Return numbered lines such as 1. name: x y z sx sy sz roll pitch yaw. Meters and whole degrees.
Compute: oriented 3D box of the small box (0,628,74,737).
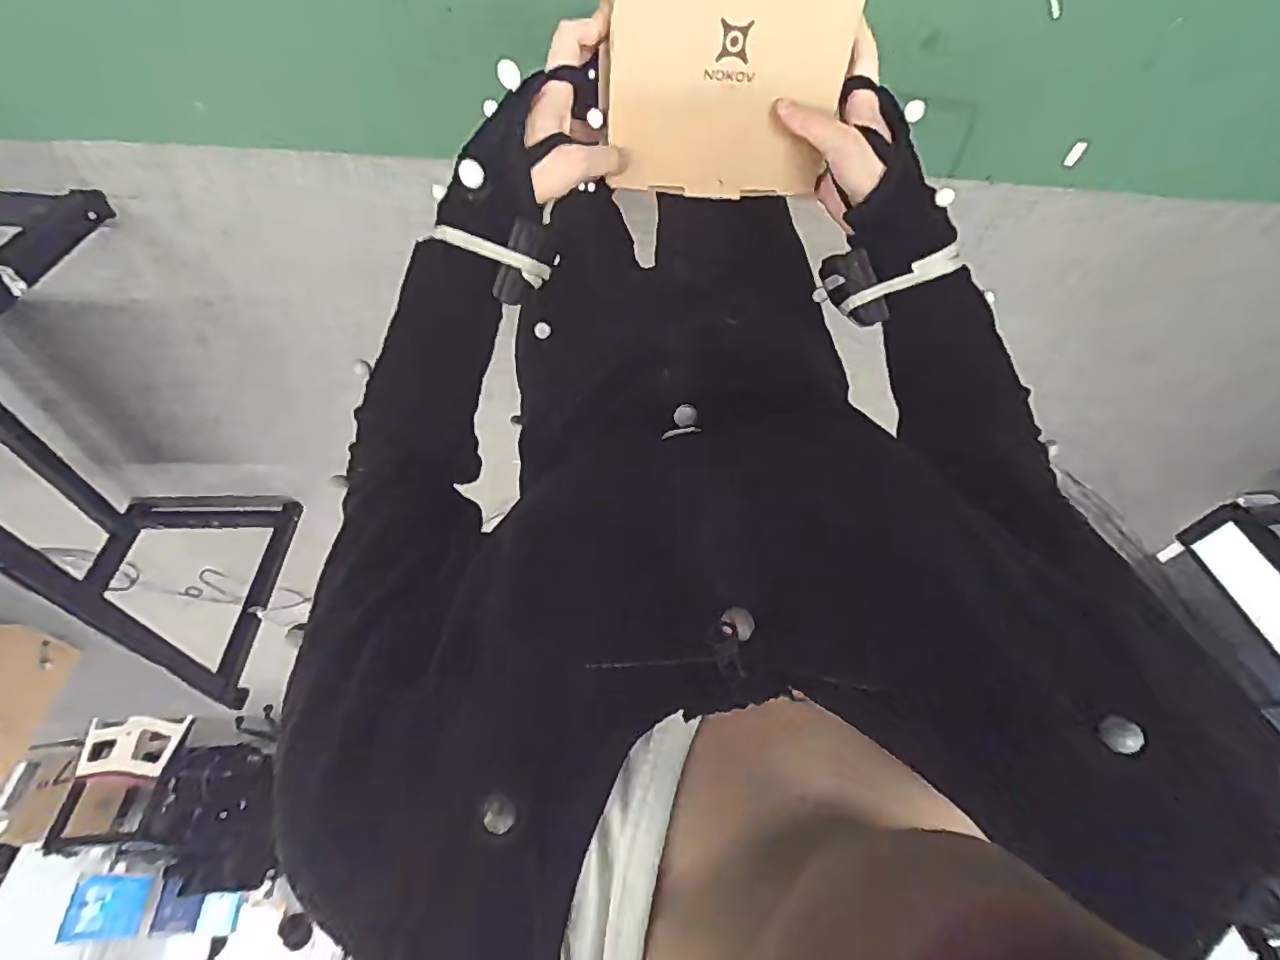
1. small box: -1.346 0.413 1.105 0.179 0.176 0.168 0 142 -6
